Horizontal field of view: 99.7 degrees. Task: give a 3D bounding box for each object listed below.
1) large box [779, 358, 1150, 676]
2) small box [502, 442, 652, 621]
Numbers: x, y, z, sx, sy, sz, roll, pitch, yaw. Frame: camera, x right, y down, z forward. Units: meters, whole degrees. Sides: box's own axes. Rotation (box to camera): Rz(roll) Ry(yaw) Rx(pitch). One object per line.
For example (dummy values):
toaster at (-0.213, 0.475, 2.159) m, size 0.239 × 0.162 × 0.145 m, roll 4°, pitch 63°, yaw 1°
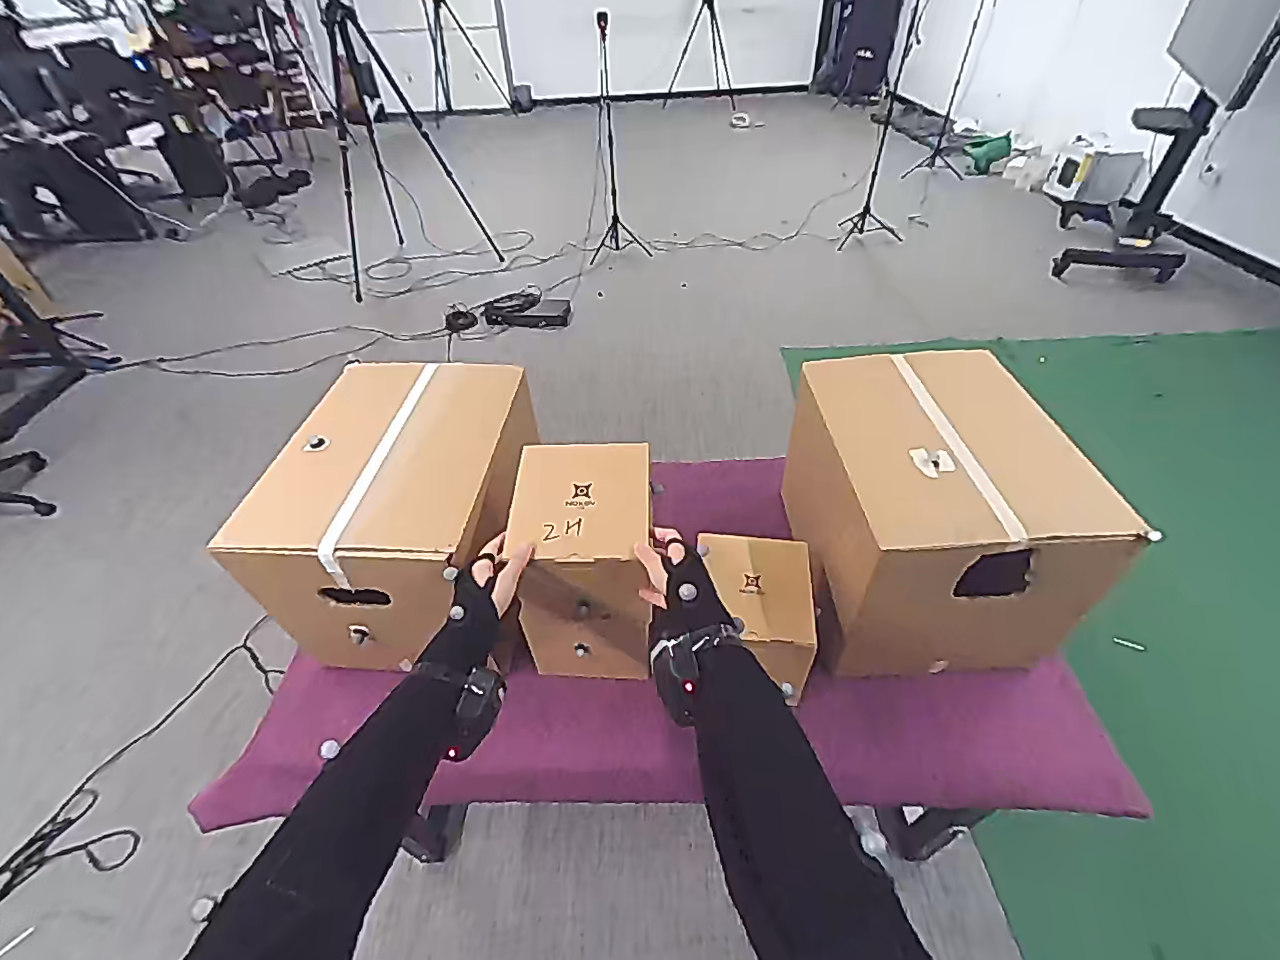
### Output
large box at (0.433, 0.049, 0.862) m, size 0.320 × 0.320 × 0.408 m, roll -4°, pitch 44°, yaw 2°
small box at (-0.069, 0.069, 0.714) m, size 0.168 × 0.176 × 0.179 m, roll -1°, pitch 51°, yaw 3°
